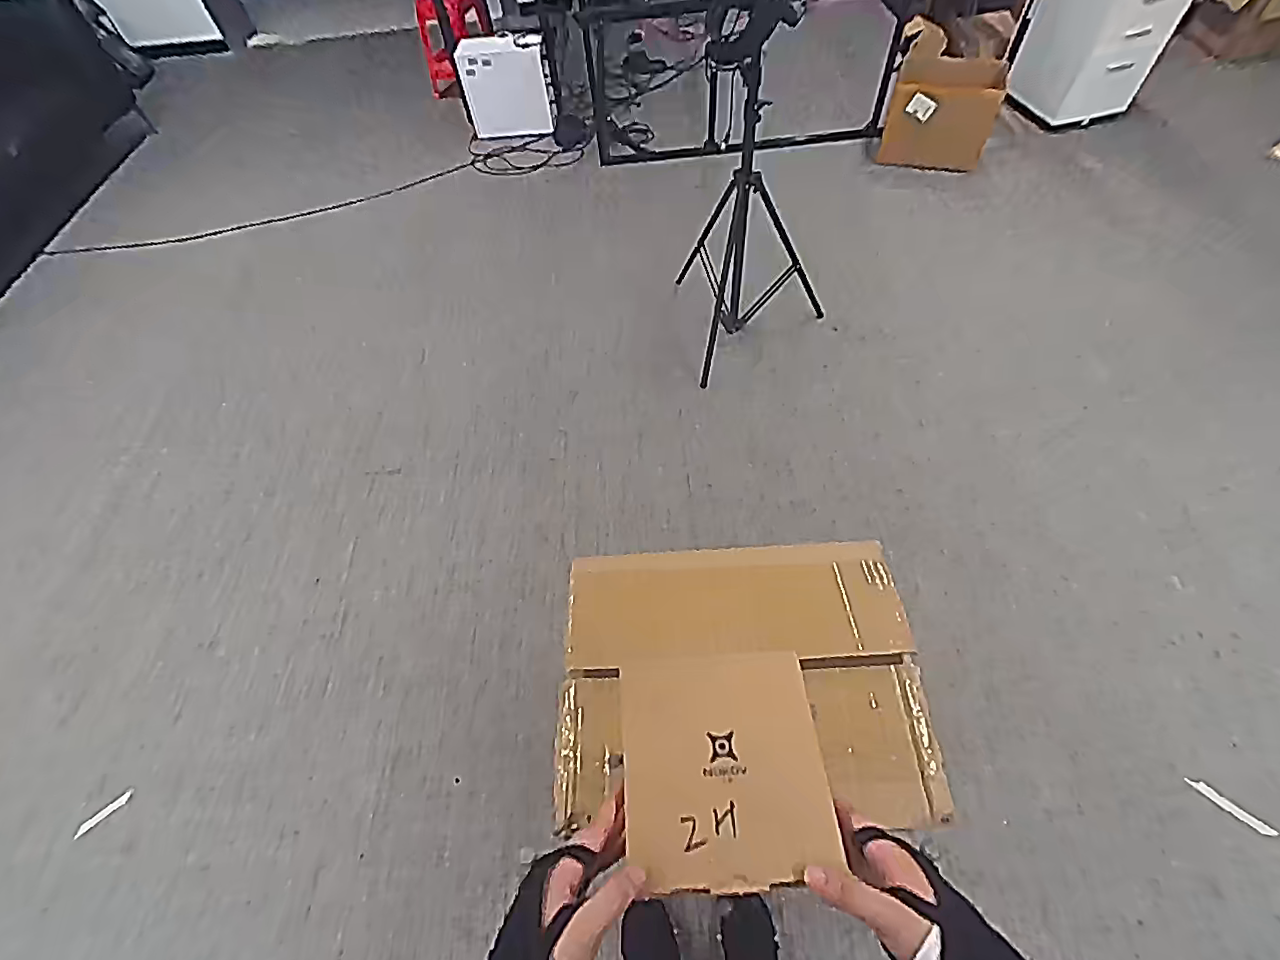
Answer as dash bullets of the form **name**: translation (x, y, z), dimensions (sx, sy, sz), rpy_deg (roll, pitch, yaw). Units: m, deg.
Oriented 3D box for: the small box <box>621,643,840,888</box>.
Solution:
- **small box**: translation (0.066, 0.273, 0.515), dimensions (0.168, 0.176, 0.179), rpy_deg (-3, 52, -1)
